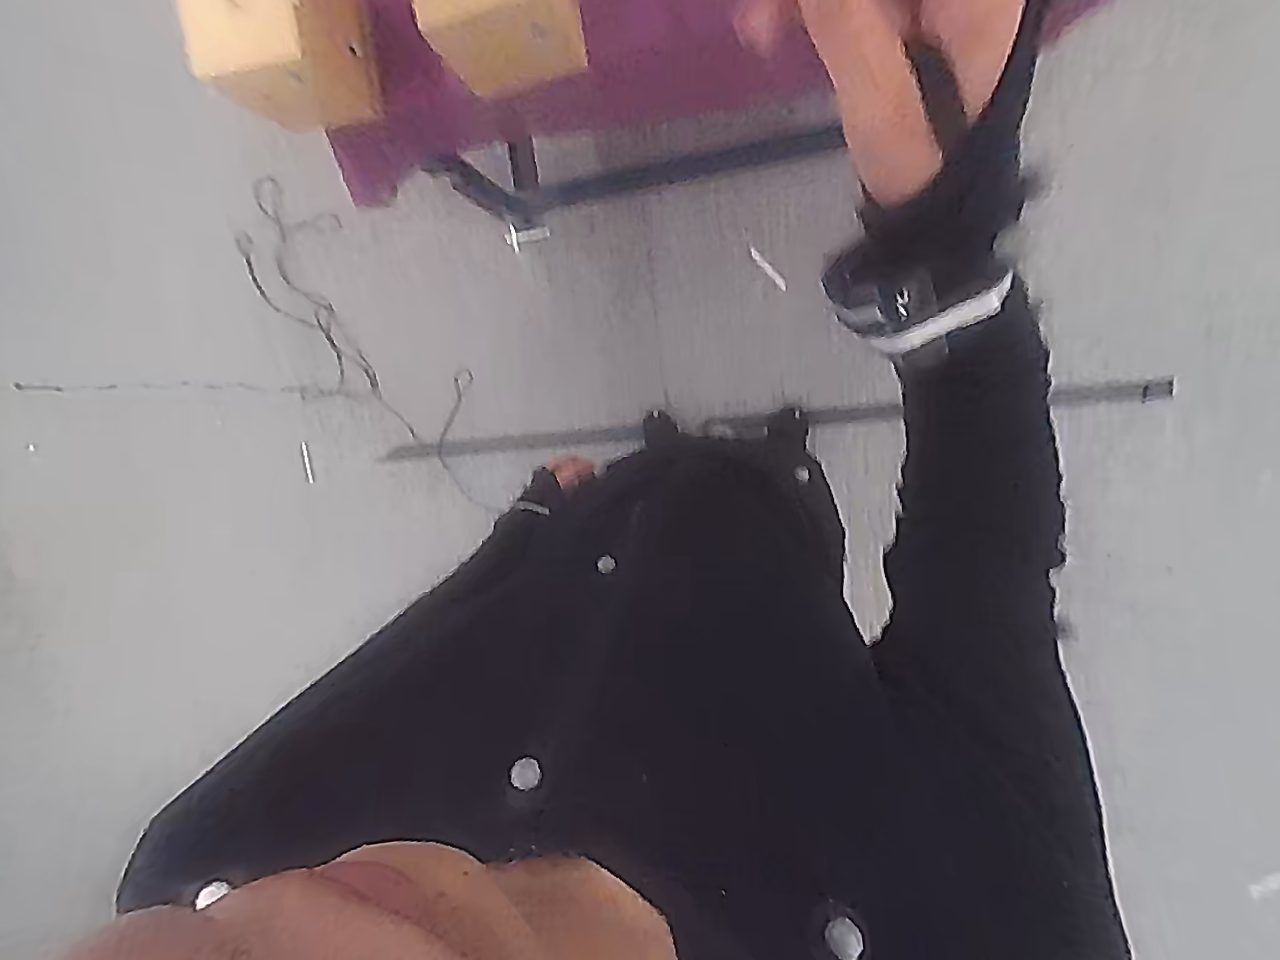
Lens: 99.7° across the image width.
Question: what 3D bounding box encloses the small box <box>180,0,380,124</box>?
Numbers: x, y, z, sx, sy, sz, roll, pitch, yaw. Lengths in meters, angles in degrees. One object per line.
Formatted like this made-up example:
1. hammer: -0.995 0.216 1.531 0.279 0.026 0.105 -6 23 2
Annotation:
1. small box: -0.516 -0.649 0.784 0.179 0.176 0.168 -3 100 11
